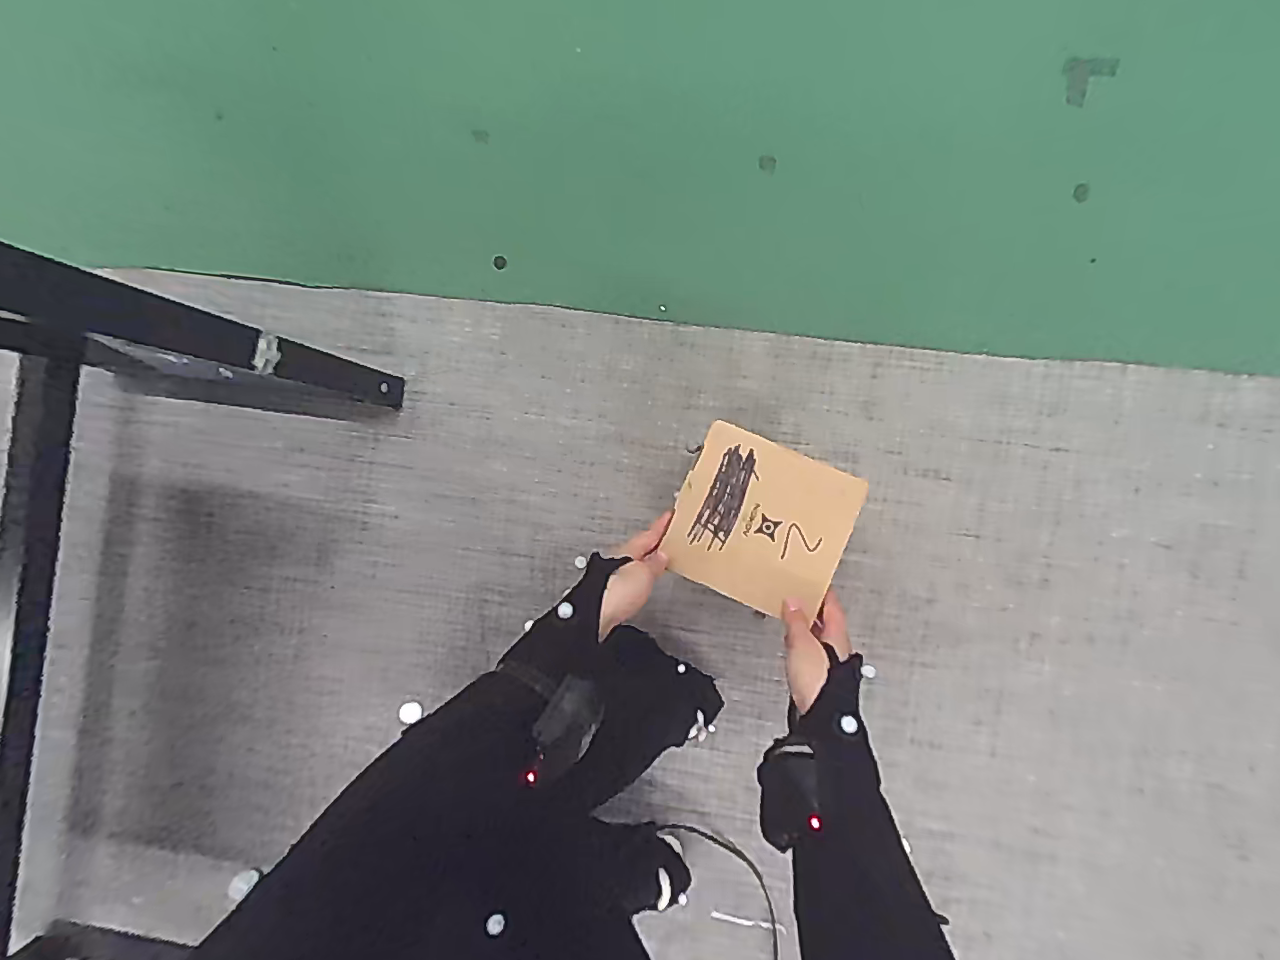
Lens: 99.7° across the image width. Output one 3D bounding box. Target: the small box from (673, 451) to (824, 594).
[{"bbox_3d":[0.157,0.058,0.833,0.179,0.176,0.168,16,91,5],"label":"small box"}]
